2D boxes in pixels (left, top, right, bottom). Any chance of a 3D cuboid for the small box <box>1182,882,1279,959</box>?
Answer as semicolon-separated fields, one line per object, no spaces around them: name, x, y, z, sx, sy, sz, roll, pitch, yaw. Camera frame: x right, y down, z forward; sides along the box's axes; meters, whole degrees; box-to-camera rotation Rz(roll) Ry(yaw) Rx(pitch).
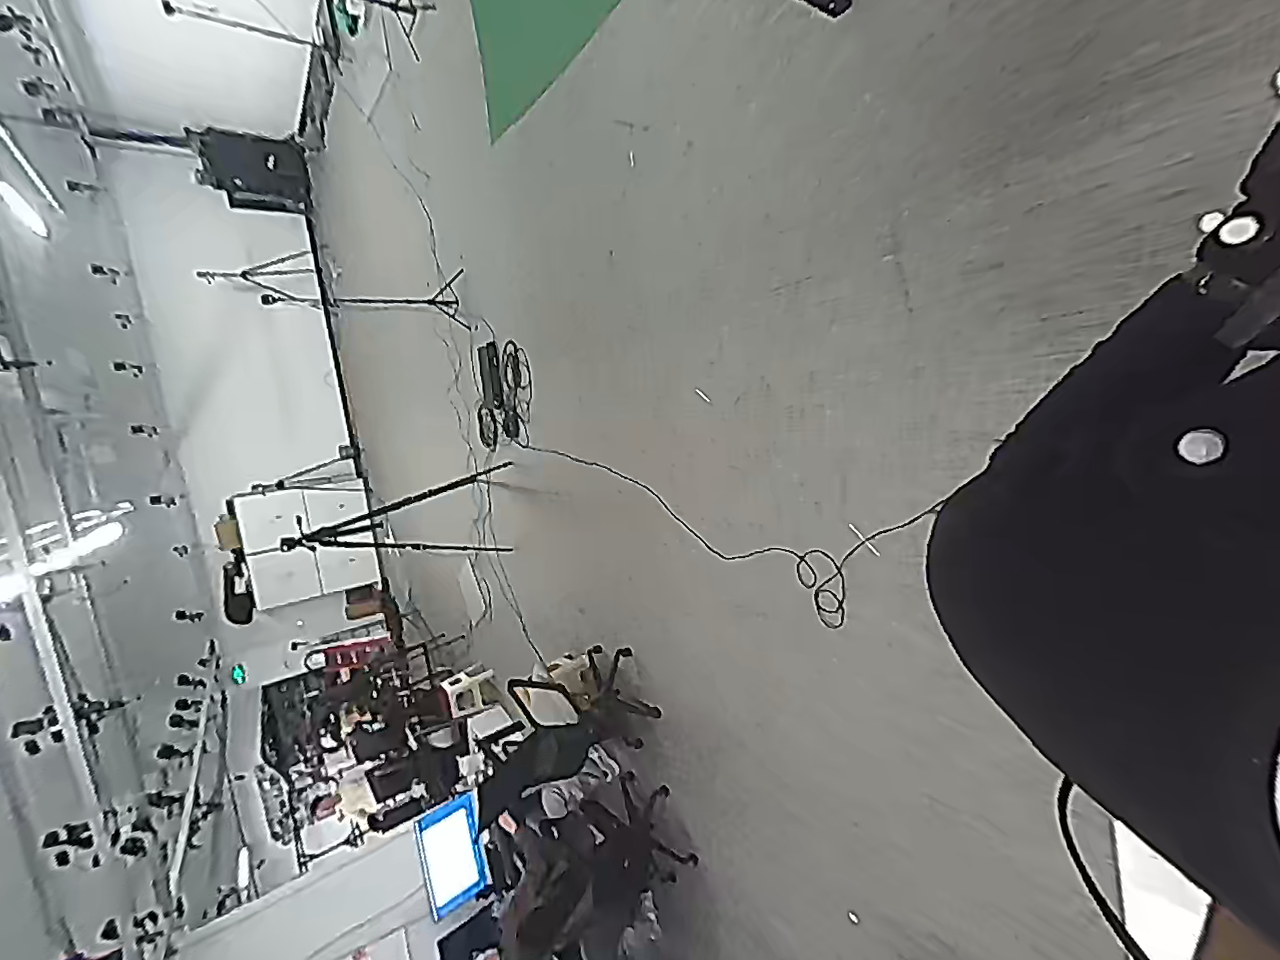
small box;0.678;0.573;0.545;0.168;0.176;0.179;2;102;54
